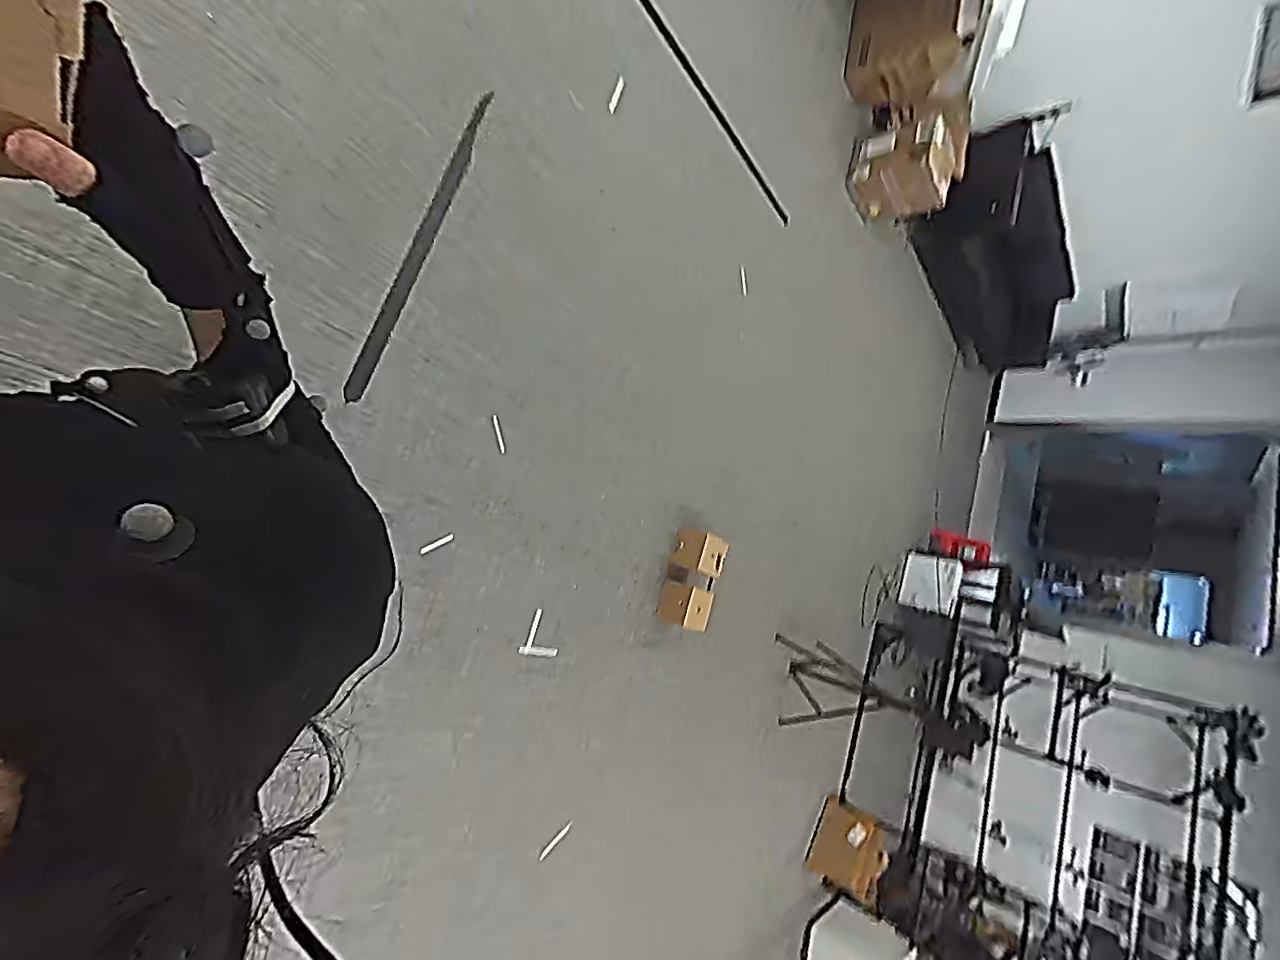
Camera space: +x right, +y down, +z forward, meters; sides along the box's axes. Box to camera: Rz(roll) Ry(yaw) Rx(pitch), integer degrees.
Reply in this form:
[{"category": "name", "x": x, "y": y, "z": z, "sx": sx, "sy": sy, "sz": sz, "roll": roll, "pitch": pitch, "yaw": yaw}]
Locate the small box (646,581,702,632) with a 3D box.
[{"category": "small box", "x": 0.149, "y": 0.565, "z": 2.425, "sx": 0.168, "sy": 0.176, "sz": 0.179, "roll": 28, "pitch": 75, "yaw": -44}]
